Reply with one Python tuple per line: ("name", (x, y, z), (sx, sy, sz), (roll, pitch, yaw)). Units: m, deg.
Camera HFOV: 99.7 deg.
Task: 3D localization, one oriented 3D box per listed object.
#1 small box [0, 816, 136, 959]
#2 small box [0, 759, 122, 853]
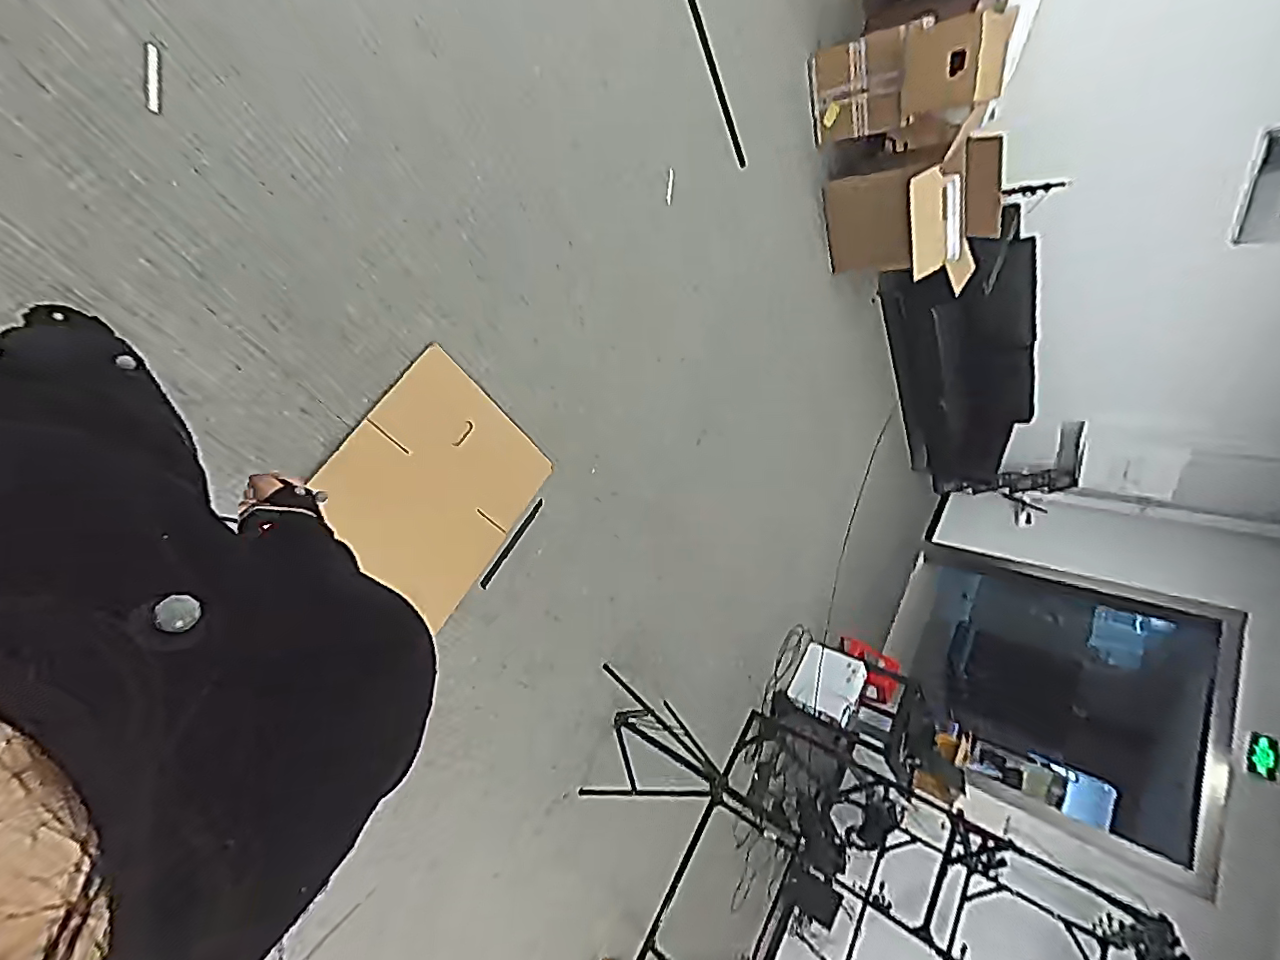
("small box", (-0.803, 0.613, 0.733), (0.168, 0.176, 0.179), (-5, 104, -48))
("small box", (-0.923, 0.581, 0.842), (0.168, 0.176, 0.179), (-5, 103, -47))
